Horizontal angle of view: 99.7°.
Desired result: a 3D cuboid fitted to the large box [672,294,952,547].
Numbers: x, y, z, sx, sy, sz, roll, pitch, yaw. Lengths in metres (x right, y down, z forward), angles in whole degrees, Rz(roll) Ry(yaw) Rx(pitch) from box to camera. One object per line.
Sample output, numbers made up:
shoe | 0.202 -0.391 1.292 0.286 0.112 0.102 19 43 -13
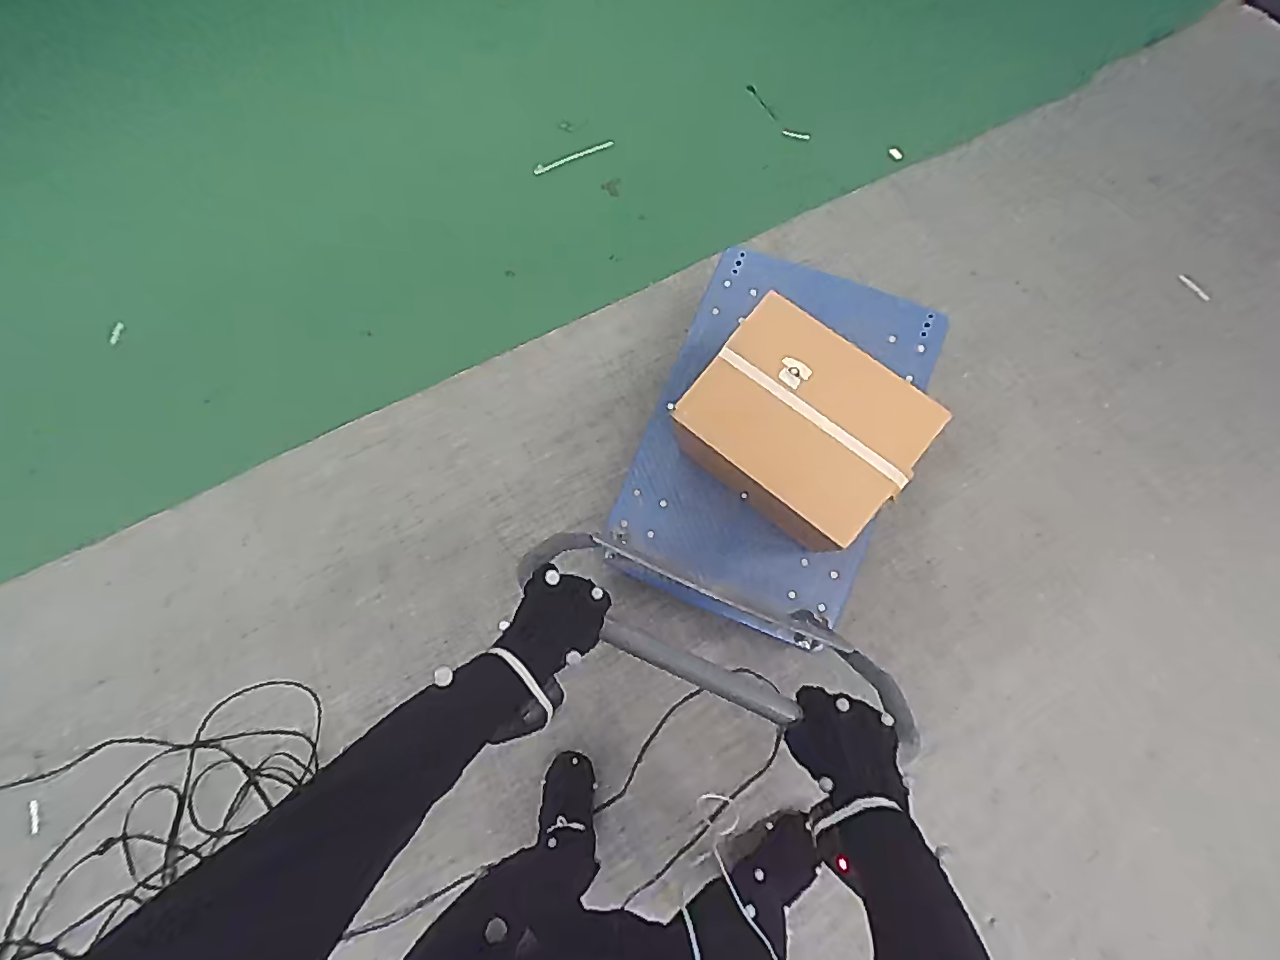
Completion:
large box | 0.328 -0.099 1.130 0.408 0.320 0.320 39 88 12
